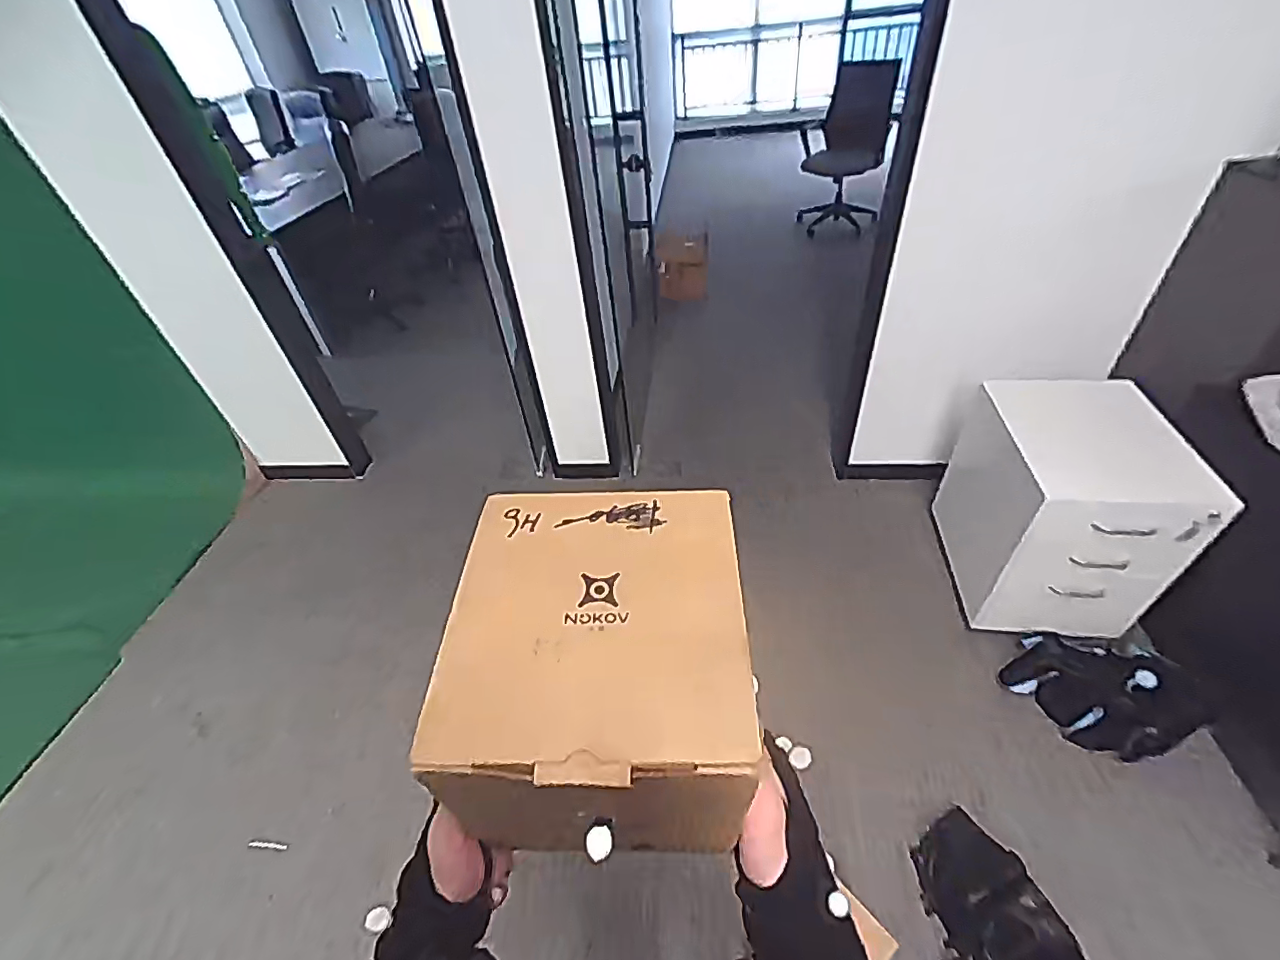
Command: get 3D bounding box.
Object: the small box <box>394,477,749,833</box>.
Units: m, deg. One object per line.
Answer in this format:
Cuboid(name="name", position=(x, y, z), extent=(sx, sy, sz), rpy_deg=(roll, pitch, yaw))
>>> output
Cuboid(name="small box", position=(-0.027, 0.117, 0.356), extent=(0.168, 0.176, 0.179), rpy_deg=(1, 48, 1))
